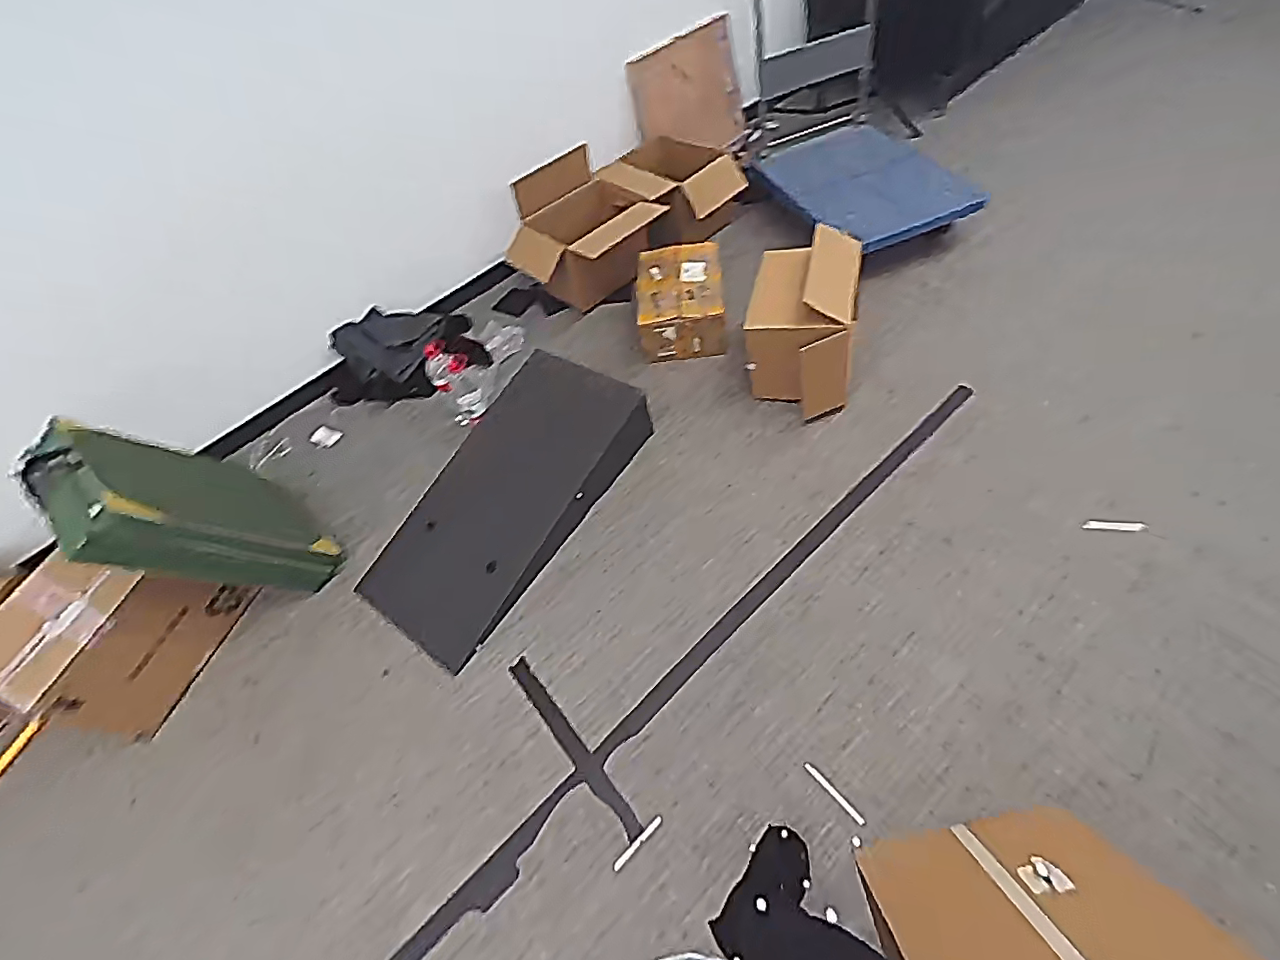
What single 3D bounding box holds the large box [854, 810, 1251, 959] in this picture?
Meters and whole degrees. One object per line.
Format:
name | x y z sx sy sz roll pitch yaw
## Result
large box | 0.494 0.658 0.600 0.320 0.408 0.320 -14 85 3
